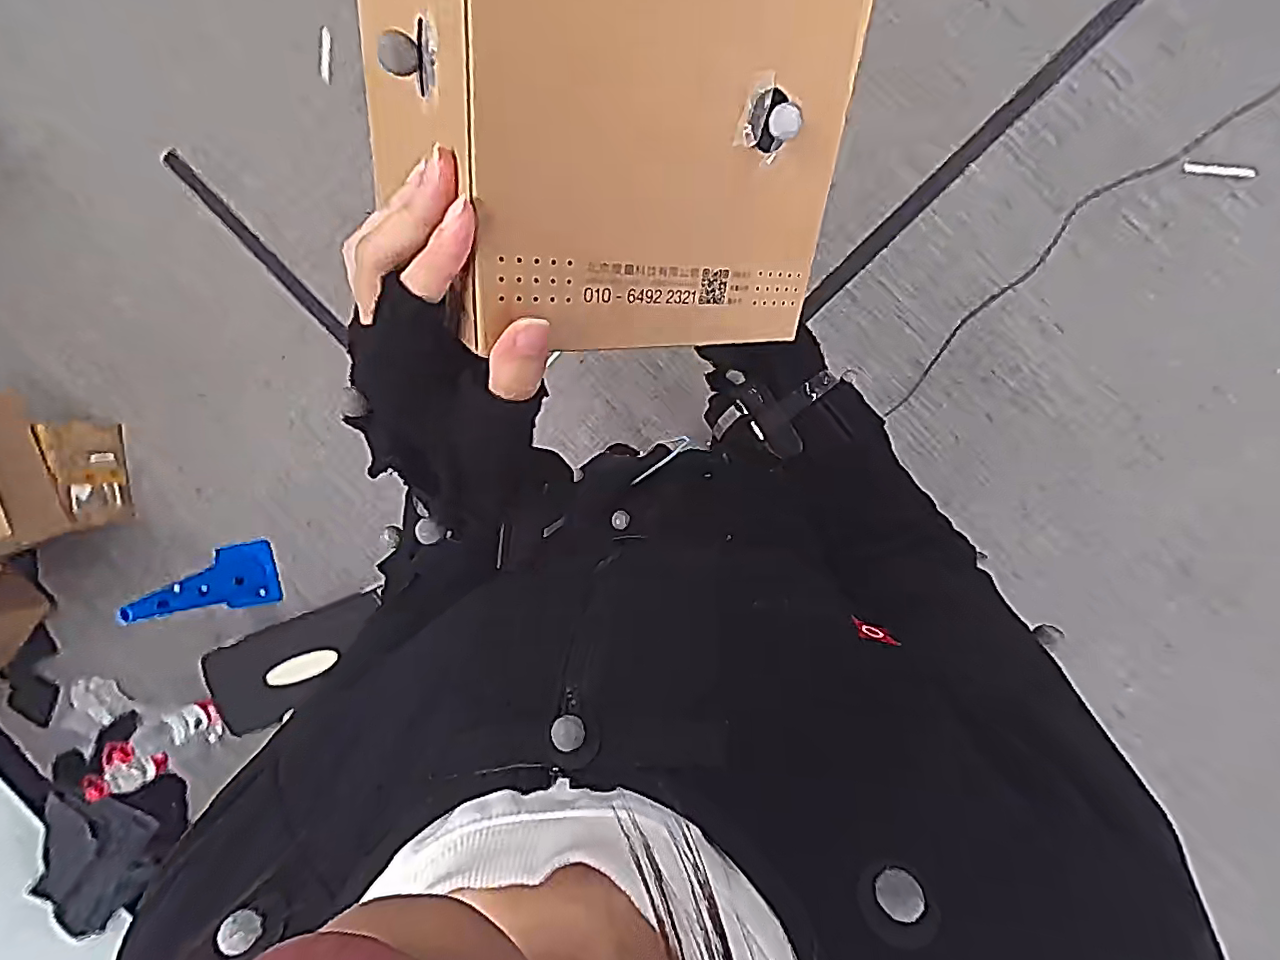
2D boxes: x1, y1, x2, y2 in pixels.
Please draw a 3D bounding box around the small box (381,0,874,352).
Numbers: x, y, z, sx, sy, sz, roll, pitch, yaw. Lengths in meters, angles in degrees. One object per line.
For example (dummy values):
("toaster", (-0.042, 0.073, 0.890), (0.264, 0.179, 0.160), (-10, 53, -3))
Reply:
("small box", (-0.018, -0.164, 0.264), (0.168, 0.179, 0.176), (-10, 122, -32))
